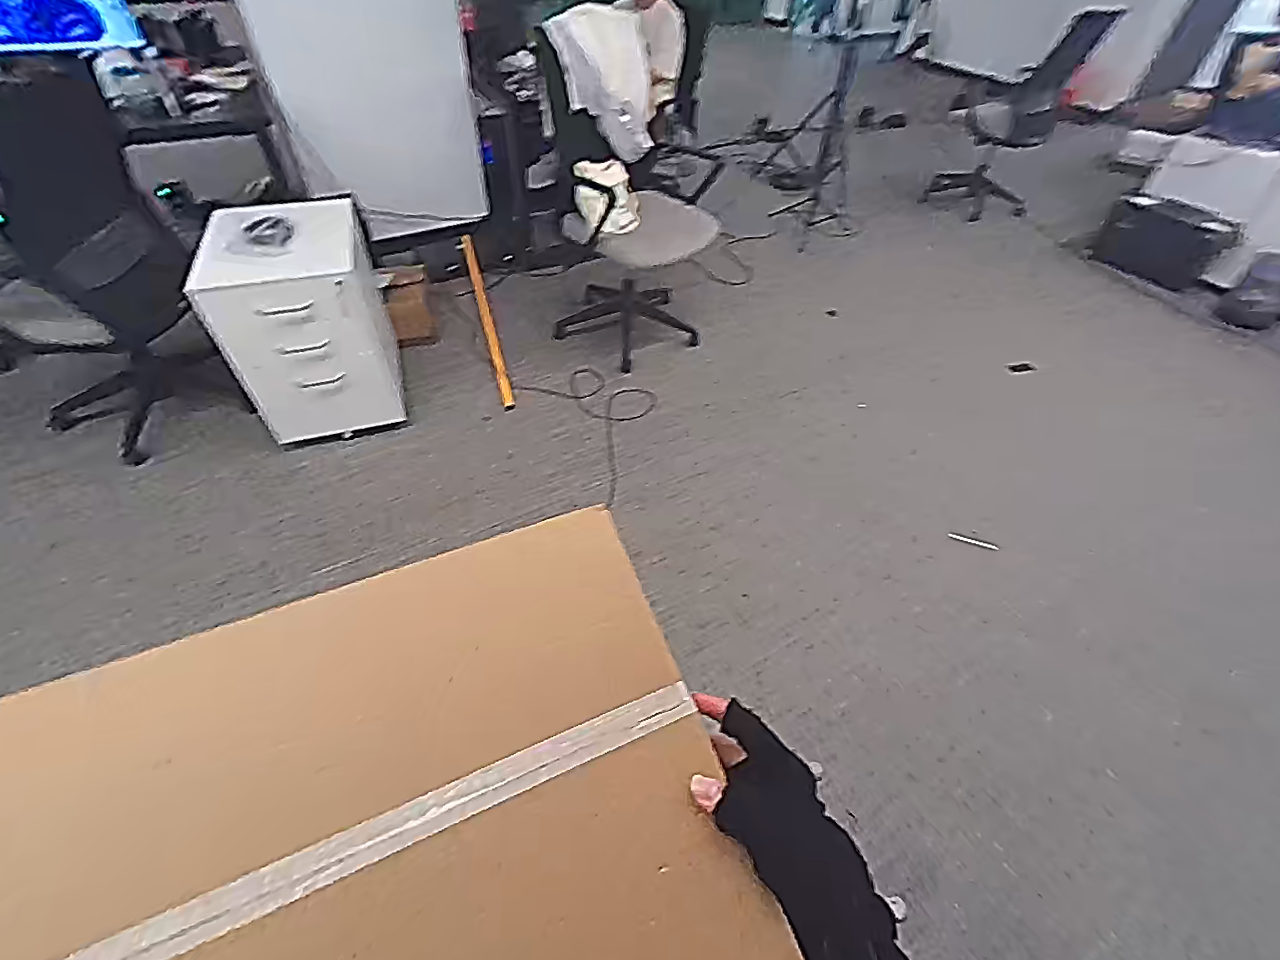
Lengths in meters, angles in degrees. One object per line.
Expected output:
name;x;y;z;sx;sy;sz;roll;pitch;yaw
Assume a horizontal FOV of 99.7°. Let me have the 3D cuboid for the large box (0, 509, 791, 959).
large box;-0.166;0.280;0.445;0.408;0.320;0.320;-18;65;-16
